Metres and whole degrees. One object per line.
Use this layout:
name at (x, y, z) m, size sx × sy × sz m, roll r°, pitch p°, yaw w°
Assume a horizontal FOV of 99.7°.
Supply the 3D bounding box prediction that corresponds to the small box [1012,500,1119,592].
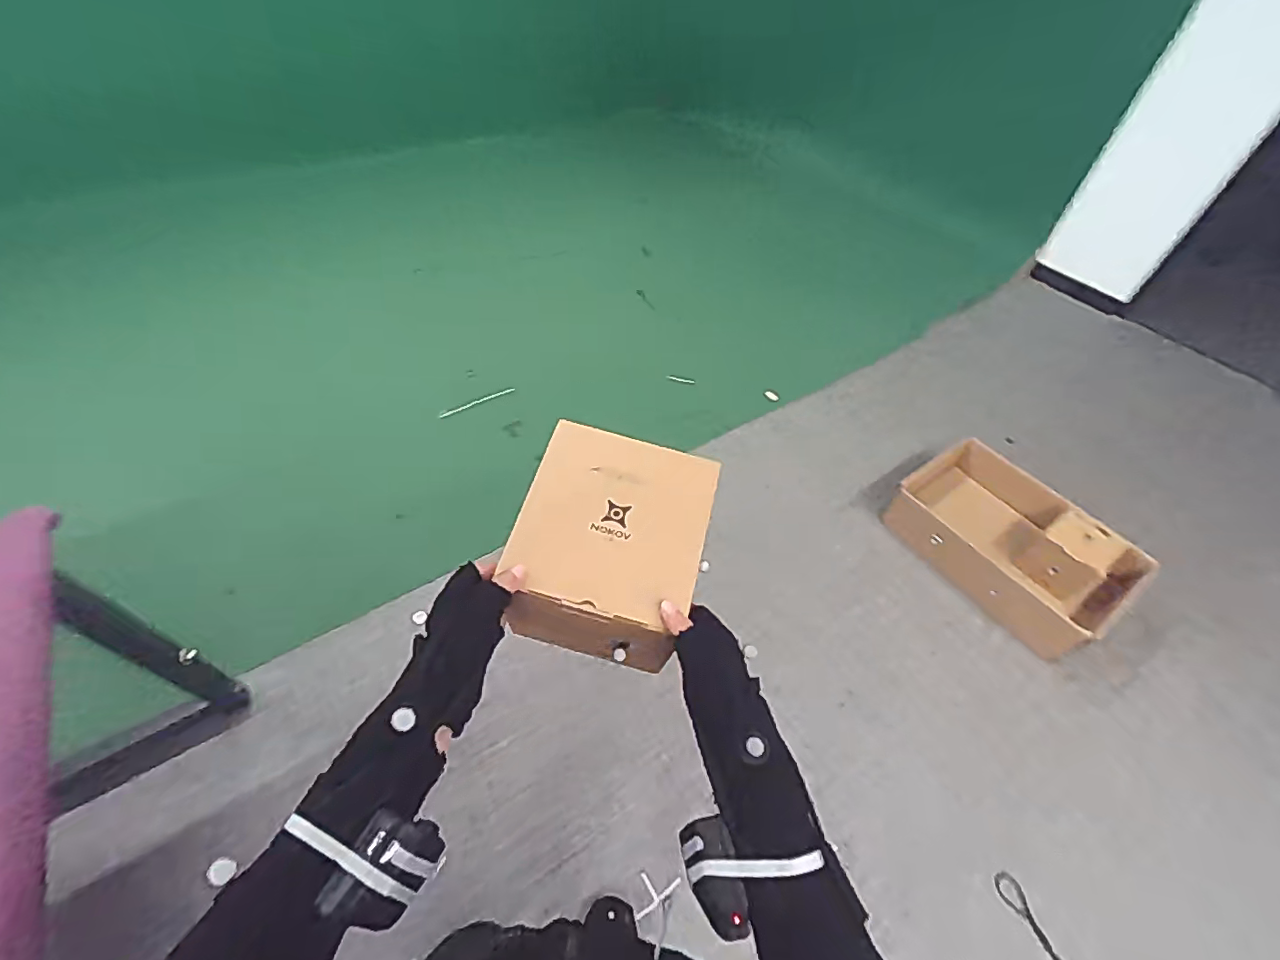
small box at (1.255, 0.200, 1.609) m, size 0.179 × 0.176 × 0.168 m, roll -32°, pitch 57°, yaw -26°

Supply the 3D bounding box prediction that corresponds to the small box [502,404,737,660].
small box at (-0.017, 0.061, 0.536) m, size 0.168 × 0.176 × 0.179 m, roll 17°, pitch 60°, yaw 3°
